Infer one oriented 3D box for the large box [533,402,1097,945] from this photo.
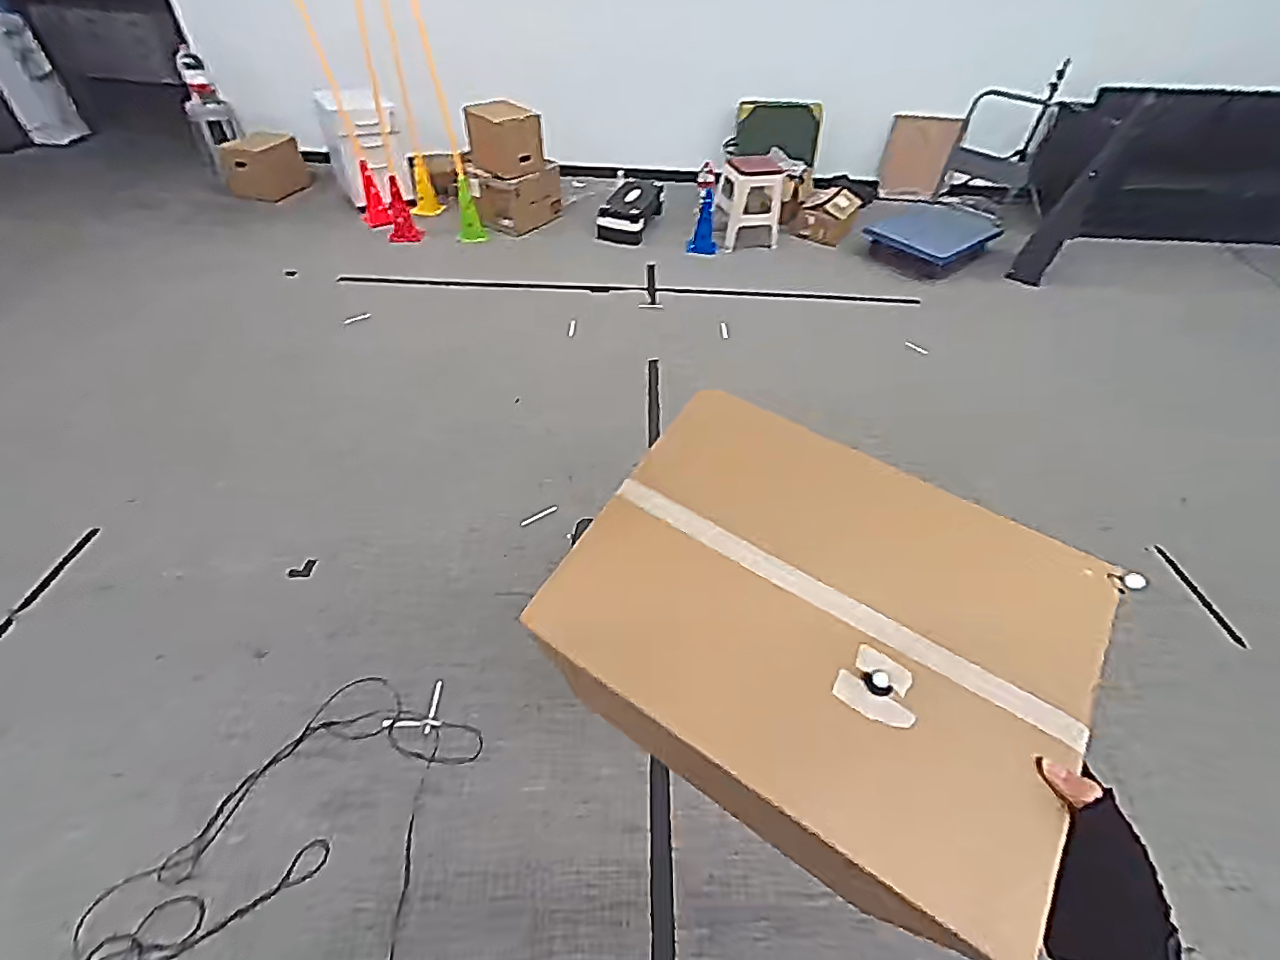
[{"bbox_3d":[0.157,0.183,0.592,0.408,0.320,0.320,27,63,20],"label":"large box"}]
